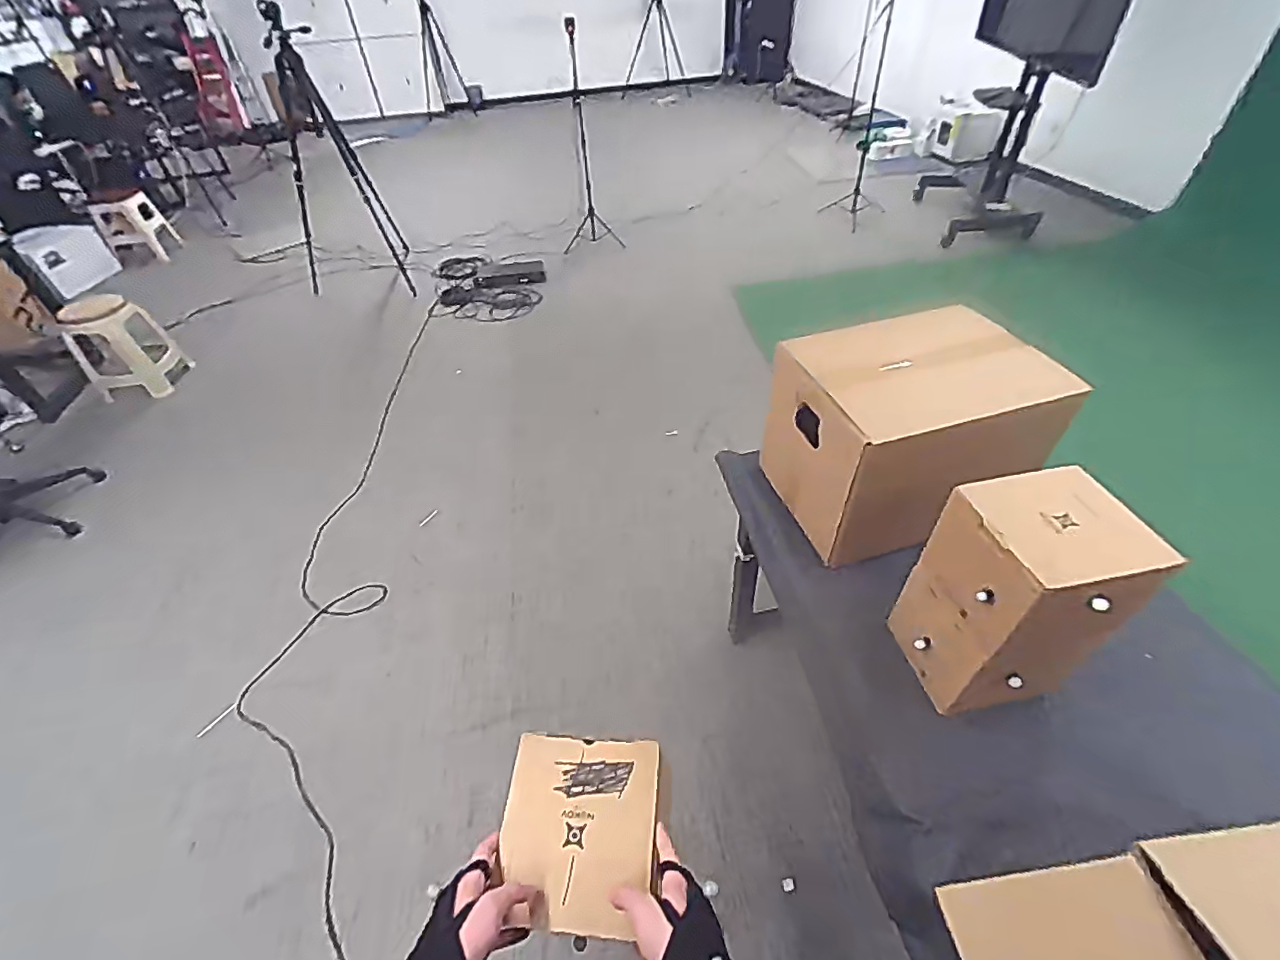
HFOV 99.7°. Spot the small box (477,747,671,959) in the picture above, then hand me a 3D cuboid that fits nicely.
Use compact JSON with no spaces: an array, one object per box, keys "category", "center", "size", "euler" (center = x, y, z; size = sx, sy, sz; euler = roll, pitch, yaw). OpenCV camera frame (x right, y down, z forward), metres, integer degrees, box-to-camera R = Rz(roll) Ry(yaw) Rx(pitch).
[{"category":"small box","center":[-0.057,0.422,0.612],"size":[0.168,0.176,0.179],"euler":[0,53,10]}]

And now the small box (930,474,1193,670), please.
[{"category":"small box","center":[0.499,0.118,0.681],"size":[0.179,0.176,0.168],"euler":[-9,47,-6]}]
